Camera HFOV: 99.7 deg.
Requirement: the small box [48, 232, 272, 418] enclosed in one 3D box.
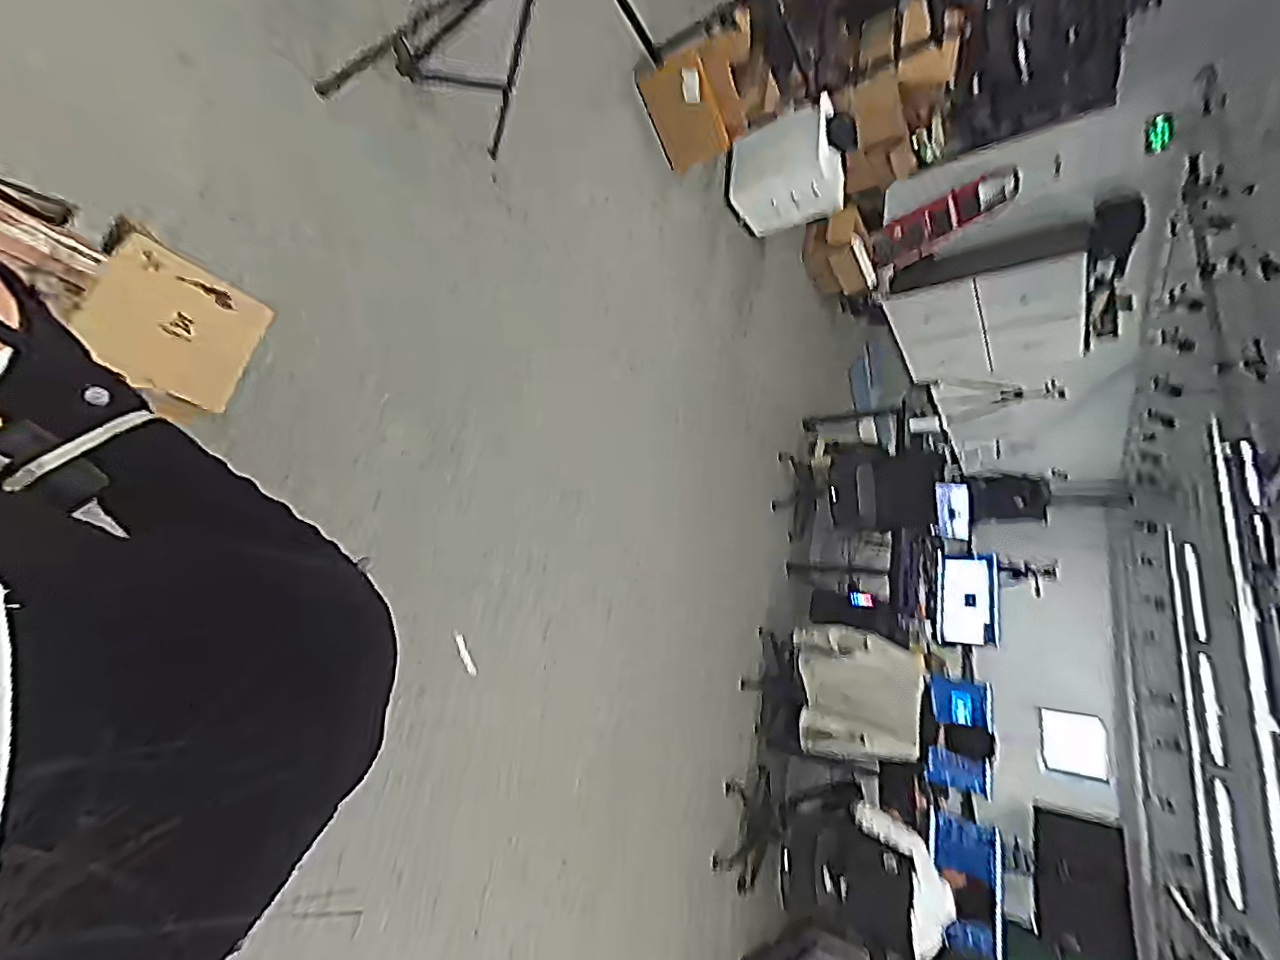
[{"bbox_3d":[-0.660,-0.197,0.746,0.168,0.176,0.179,35,63,-48],"label":"small box"}]
